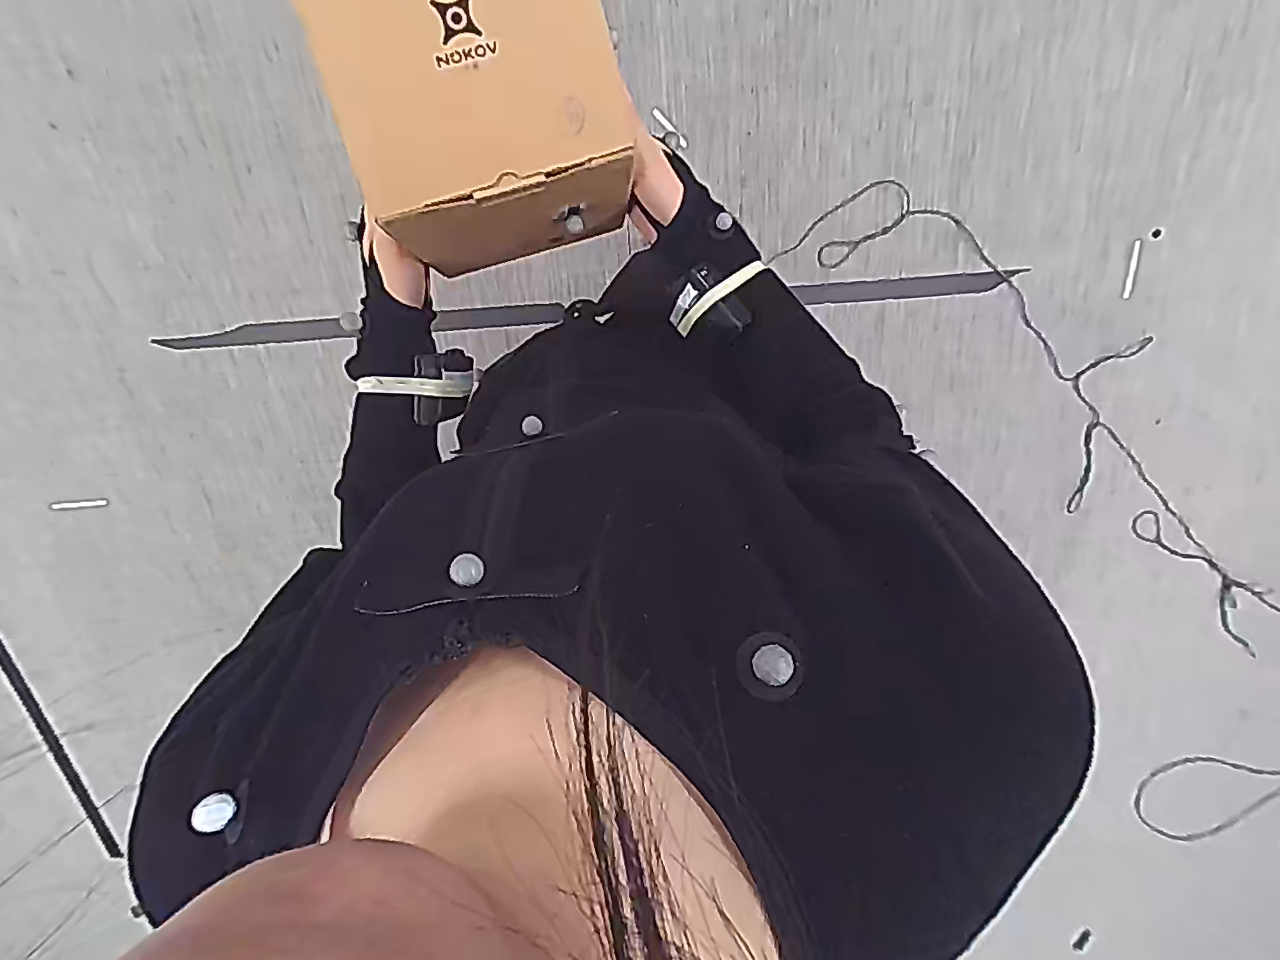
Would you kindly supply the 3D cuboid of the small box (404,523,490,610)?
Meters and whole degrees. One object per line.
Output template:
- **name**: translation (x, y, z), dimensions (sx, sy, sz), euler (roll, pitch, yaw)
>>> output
- **small box**: translation (-0.529, 0.233, 1.498), dimensions (0.179, 0.176, 0.168), euler (11, 108, -7)
